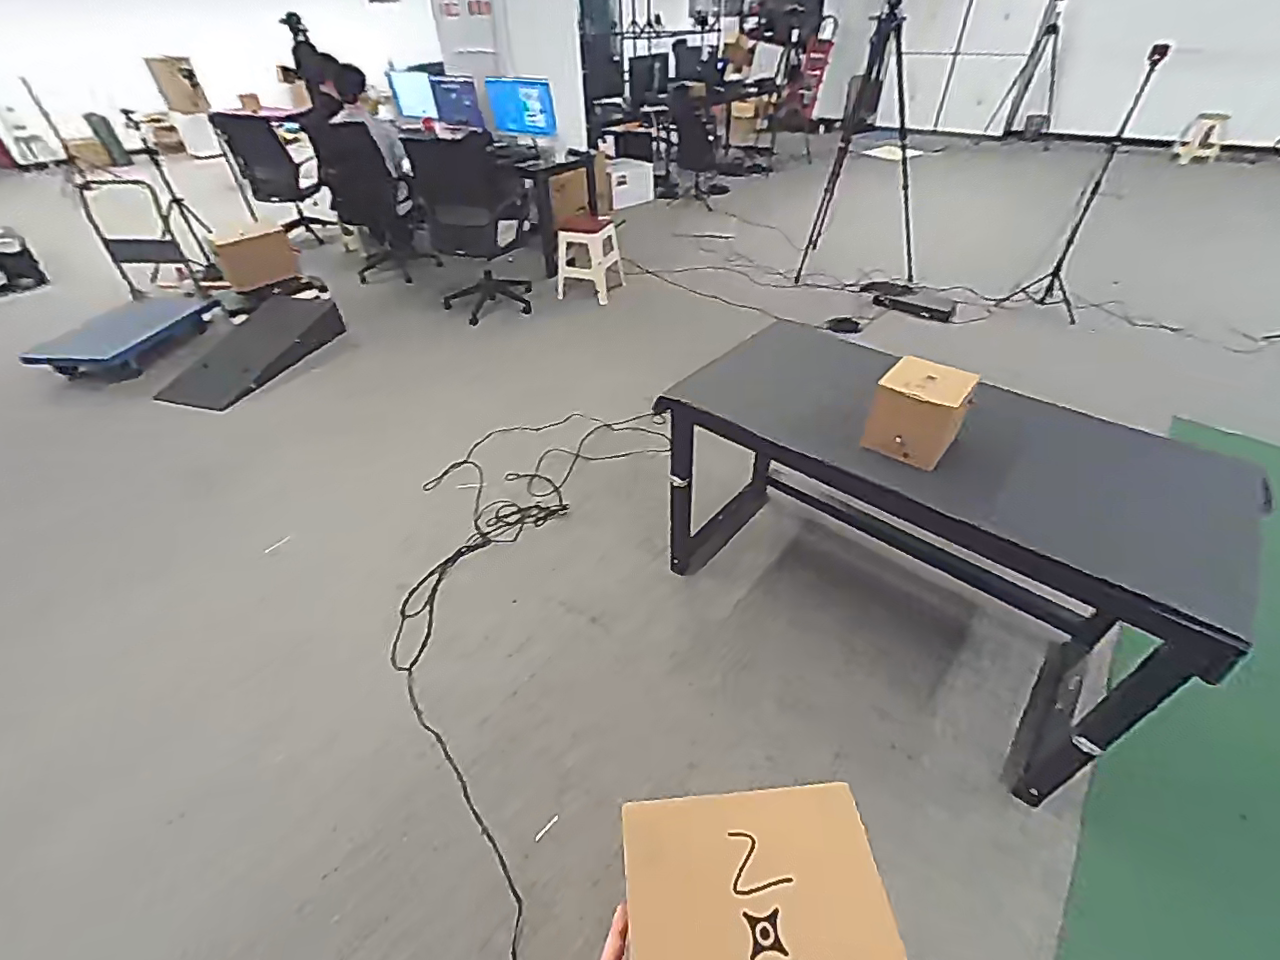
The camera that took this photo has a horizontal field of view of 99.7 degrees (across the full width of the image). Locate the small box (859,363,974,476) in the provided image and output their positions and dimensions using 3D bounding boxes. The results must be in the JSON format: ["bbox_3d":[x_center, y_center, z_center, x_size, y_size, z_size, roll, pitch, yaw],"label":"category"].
[{"bbox_3d":[0.626,-0.139,1.237,0.168,0.176,0.179,28,48,31],"label":"small box"}]
